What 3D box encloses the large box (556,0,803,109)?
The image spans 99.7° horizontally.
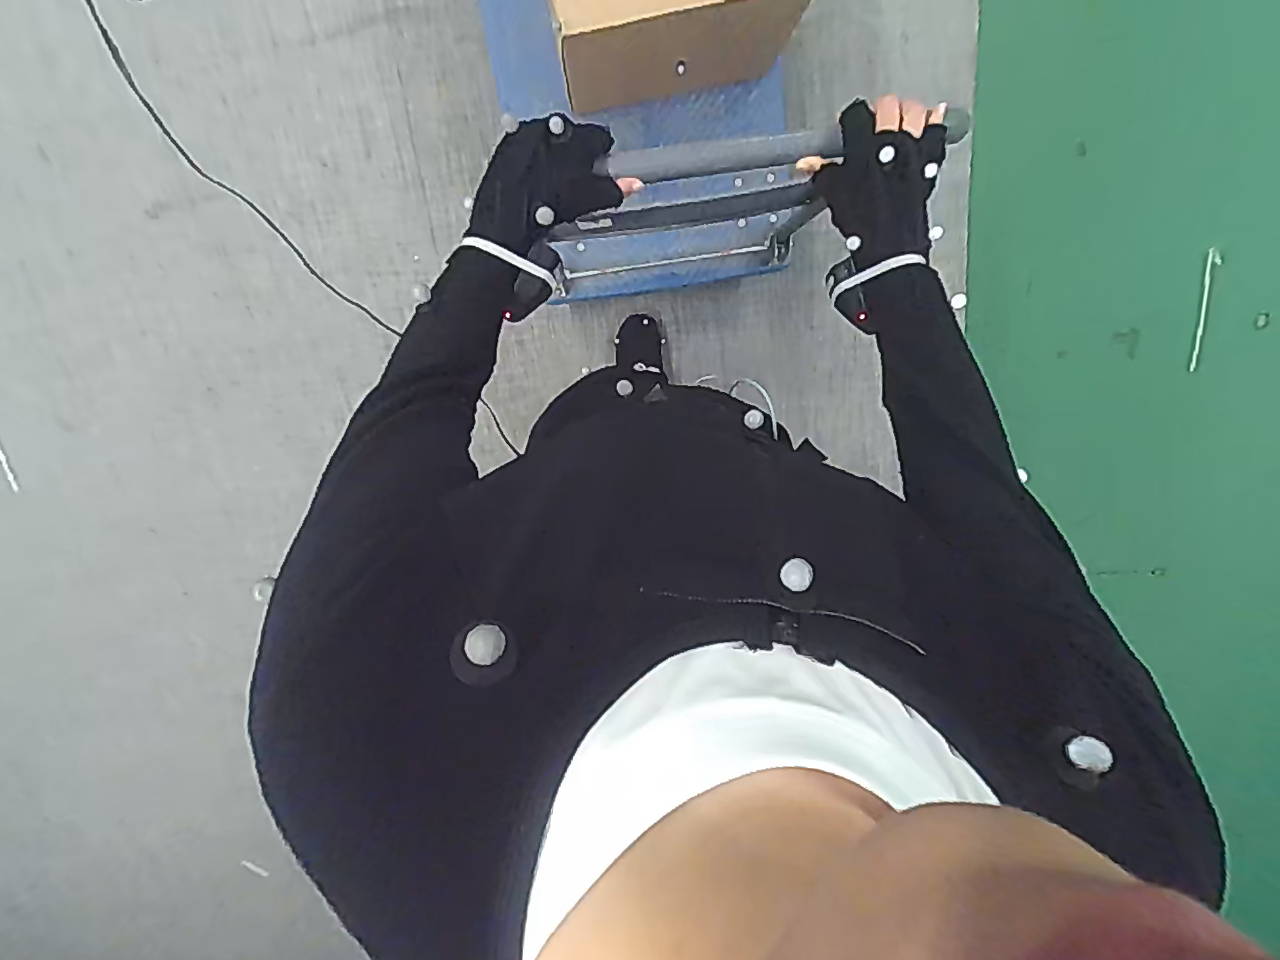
[{"bbox_3d":[0.044,-0.903,0.921,0.408,0.320,0.320,-13,105,2],"label":"large box"}]
